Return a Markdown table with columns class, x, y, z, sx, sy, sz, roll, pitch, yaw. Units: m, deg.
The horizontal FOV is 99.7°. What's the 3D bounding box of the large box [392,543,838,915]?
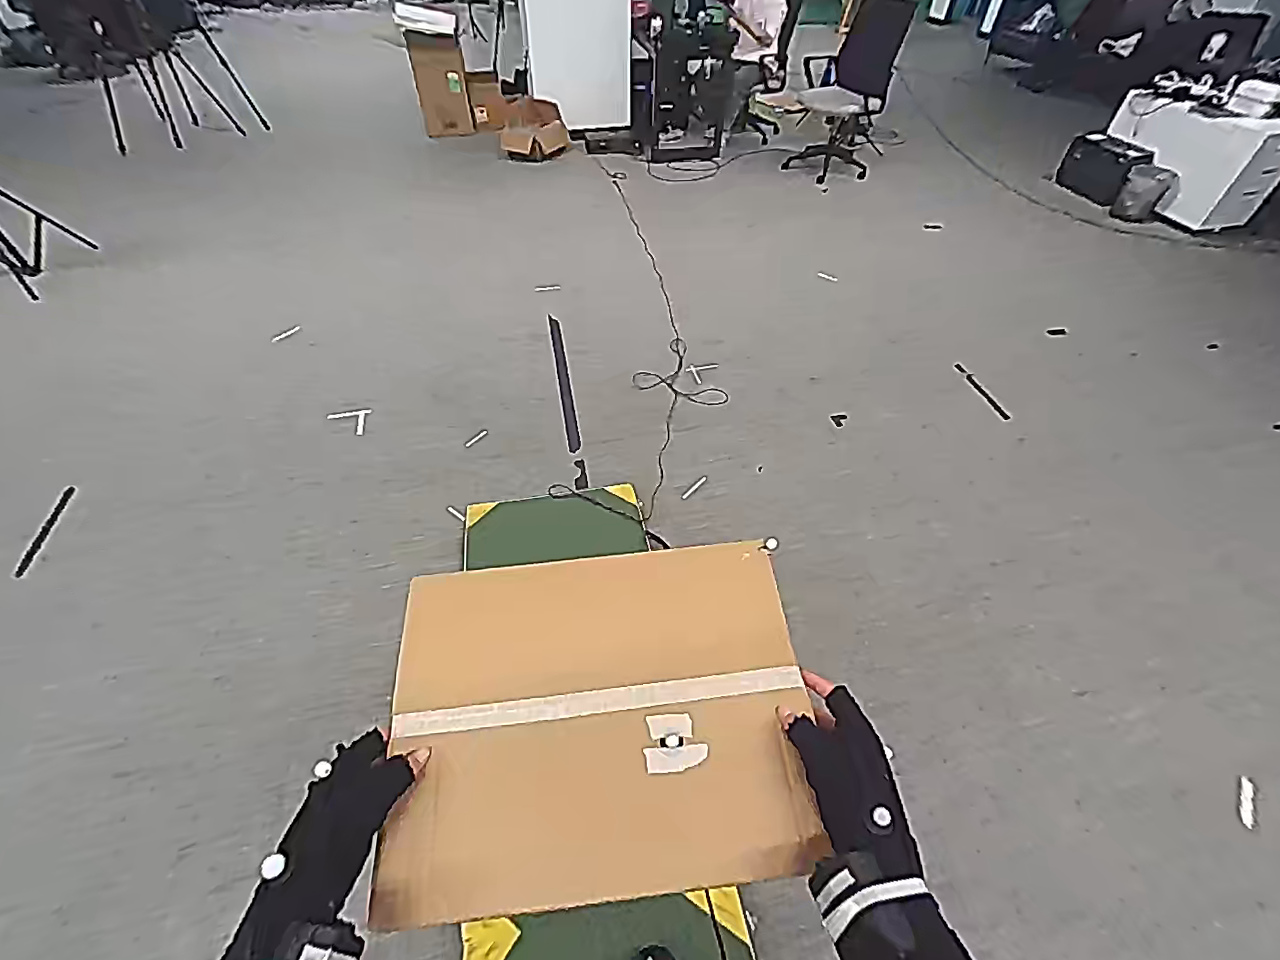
| class | x | y | z | sx | sy | sz | roll | pitch | yaw |
| --- | --- | --- | --- | --- | --- | --- | --- | --- | --- |
| large box | -0.035 | 0.305 | 0.676 | 0.408 | 0.320 | 0.320 | -6 | 57 | -3 |
